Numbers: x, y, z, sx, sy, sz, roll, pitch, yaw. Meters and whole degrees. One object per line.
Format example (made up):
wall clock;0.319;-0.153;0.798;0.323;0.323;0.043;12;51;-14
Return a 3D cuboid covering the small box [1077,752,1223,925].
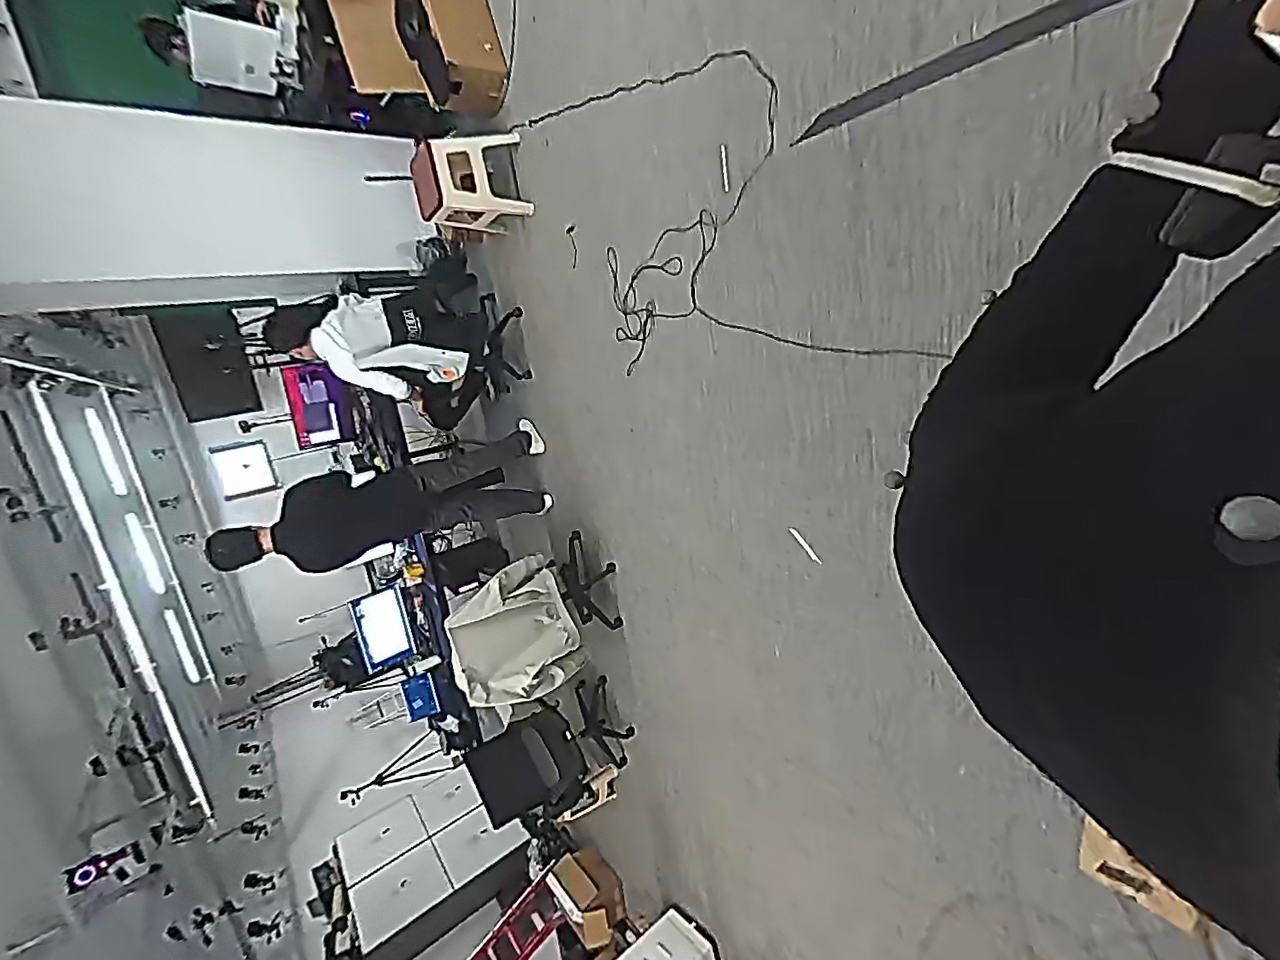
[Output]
small box;0.971;0.670;1.032;0.168;0.176;0.179;14;117;51
